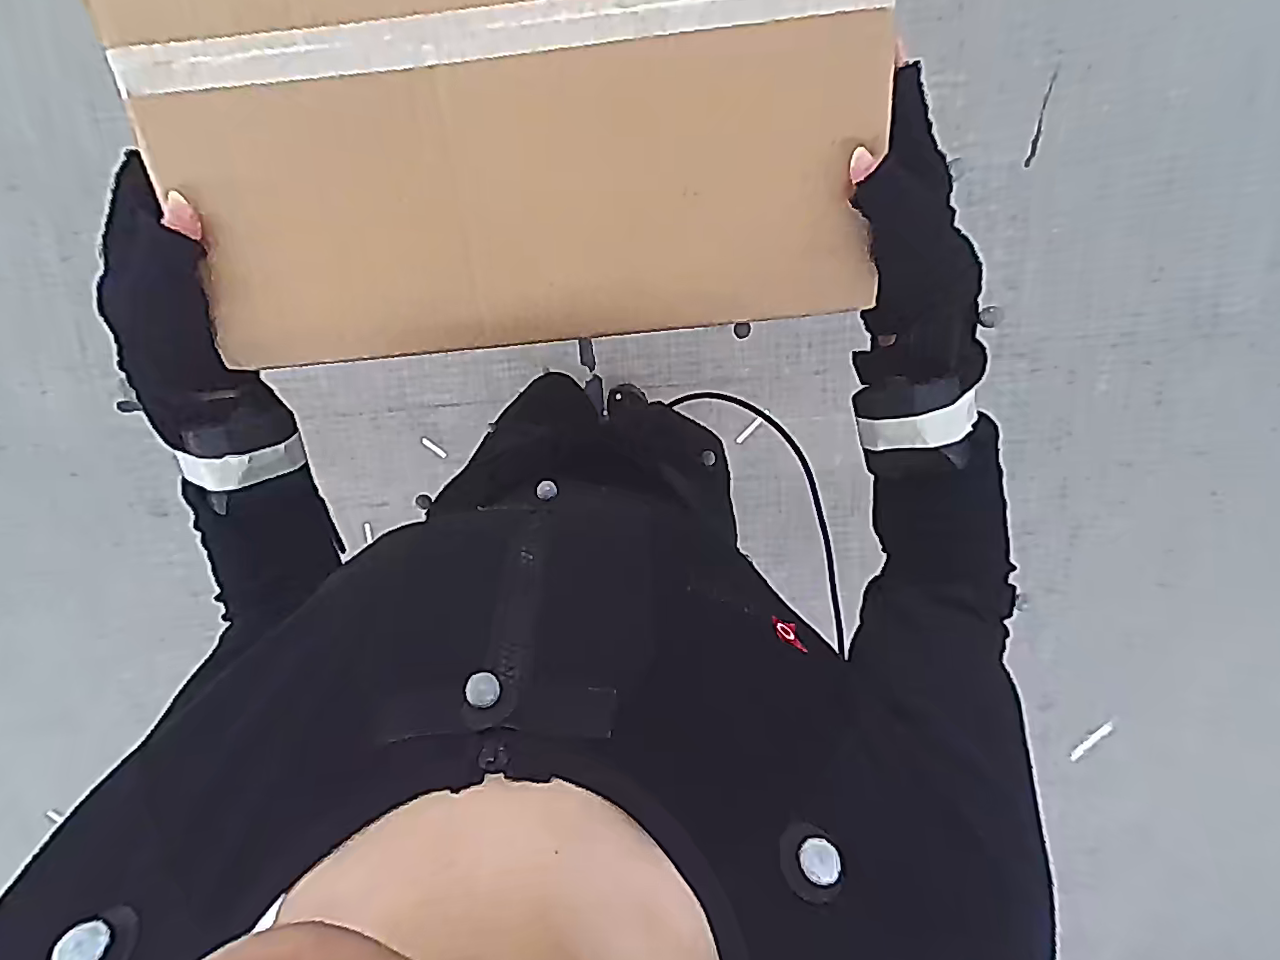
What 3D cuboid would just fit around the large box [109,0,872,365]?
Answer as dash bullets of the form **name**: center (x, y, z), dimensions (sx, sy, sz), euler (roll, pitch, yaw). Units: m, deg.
- **large box**: center (-0.074, -0.291, 0.426), dimensions (0.408, 0.320, 0.320), euler (-5, 111, 2)
